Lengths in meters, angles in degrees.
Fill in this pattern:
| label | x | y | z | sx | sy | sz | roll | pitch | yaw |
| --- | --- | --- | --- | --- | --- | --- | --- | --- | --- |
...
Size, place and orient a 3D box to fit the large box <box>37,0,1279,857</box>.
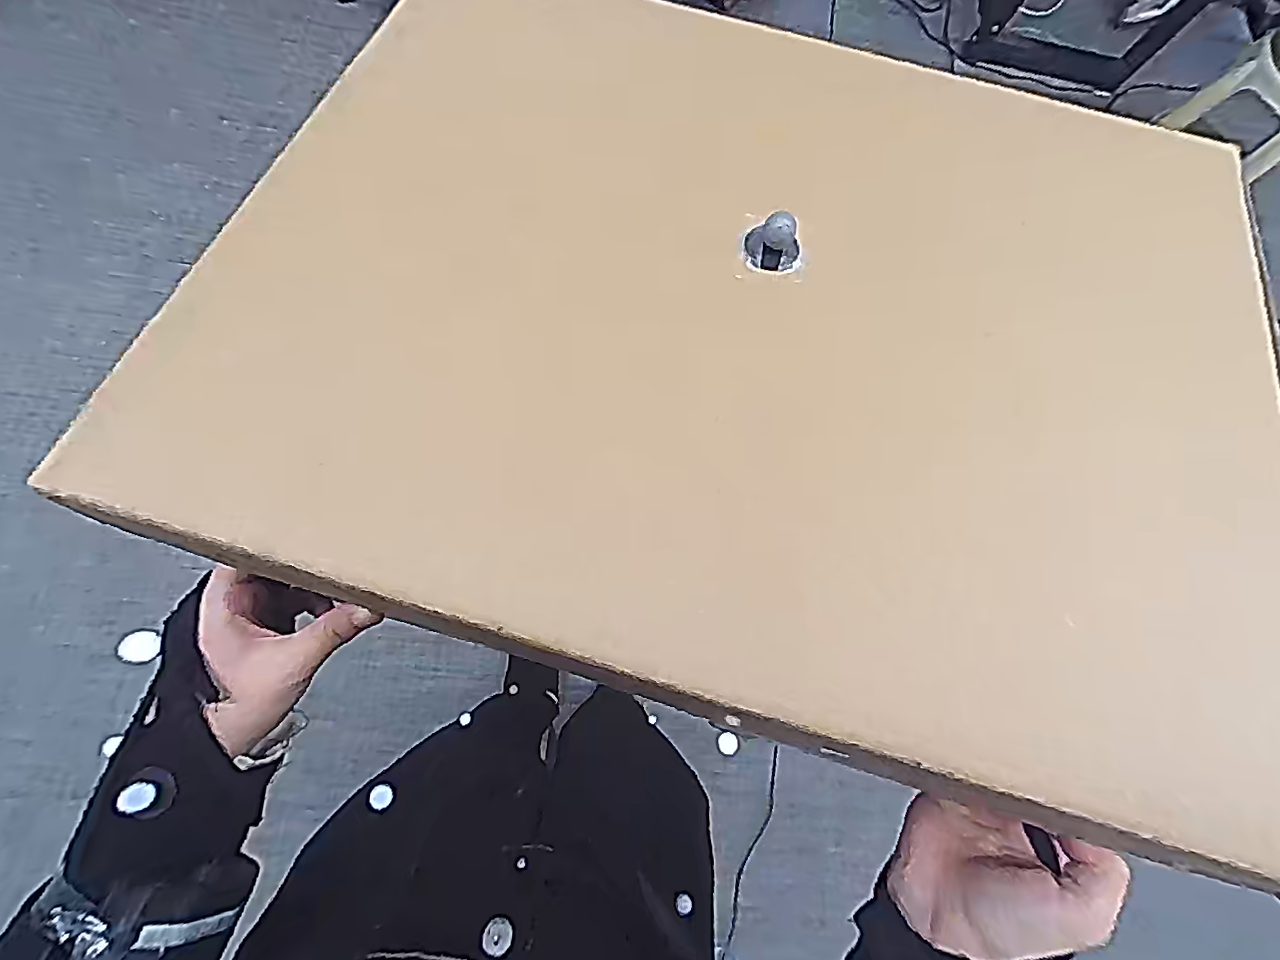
| label | x | y | z | sx | sy | sz | roll | pitch | yaw |
| --- | --- | --- | --- | --- | --- | --- | --- | --- | --- |
| large box | 0.028 | -0.030 | 0.348 | 0.408 | 0.320 | 0.320 | 15 | 70 | 4 |
